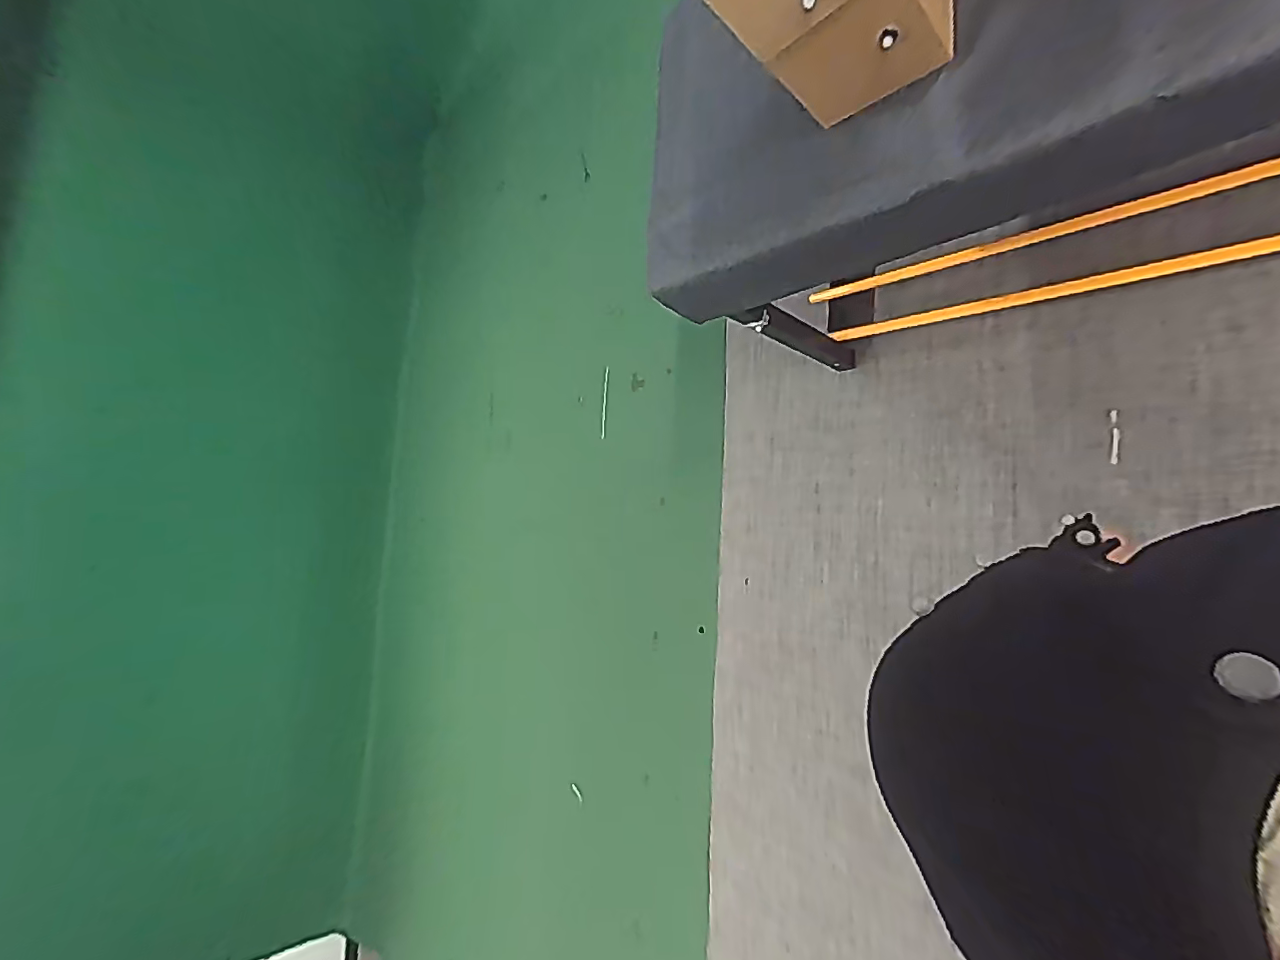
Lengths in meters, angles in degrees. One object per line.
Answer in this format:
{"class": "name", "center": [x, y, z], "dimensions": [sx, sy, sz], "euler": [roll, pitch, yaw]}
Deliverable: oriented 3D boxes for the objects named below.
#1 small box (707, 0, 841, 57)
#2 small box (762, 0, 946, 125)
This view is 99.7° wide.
{"class": "small box", "center": [0.158, -0.627, 0.583], "dimensions": [0.179, 0.176, 0.168], "euler": [-8, 76, 46]}
{"class": "small box", "center": [0.278, -0.614, 0.695], "dimensions": [0.179, 0.176, 0.168], "euler": [-4, 79, 48]}
